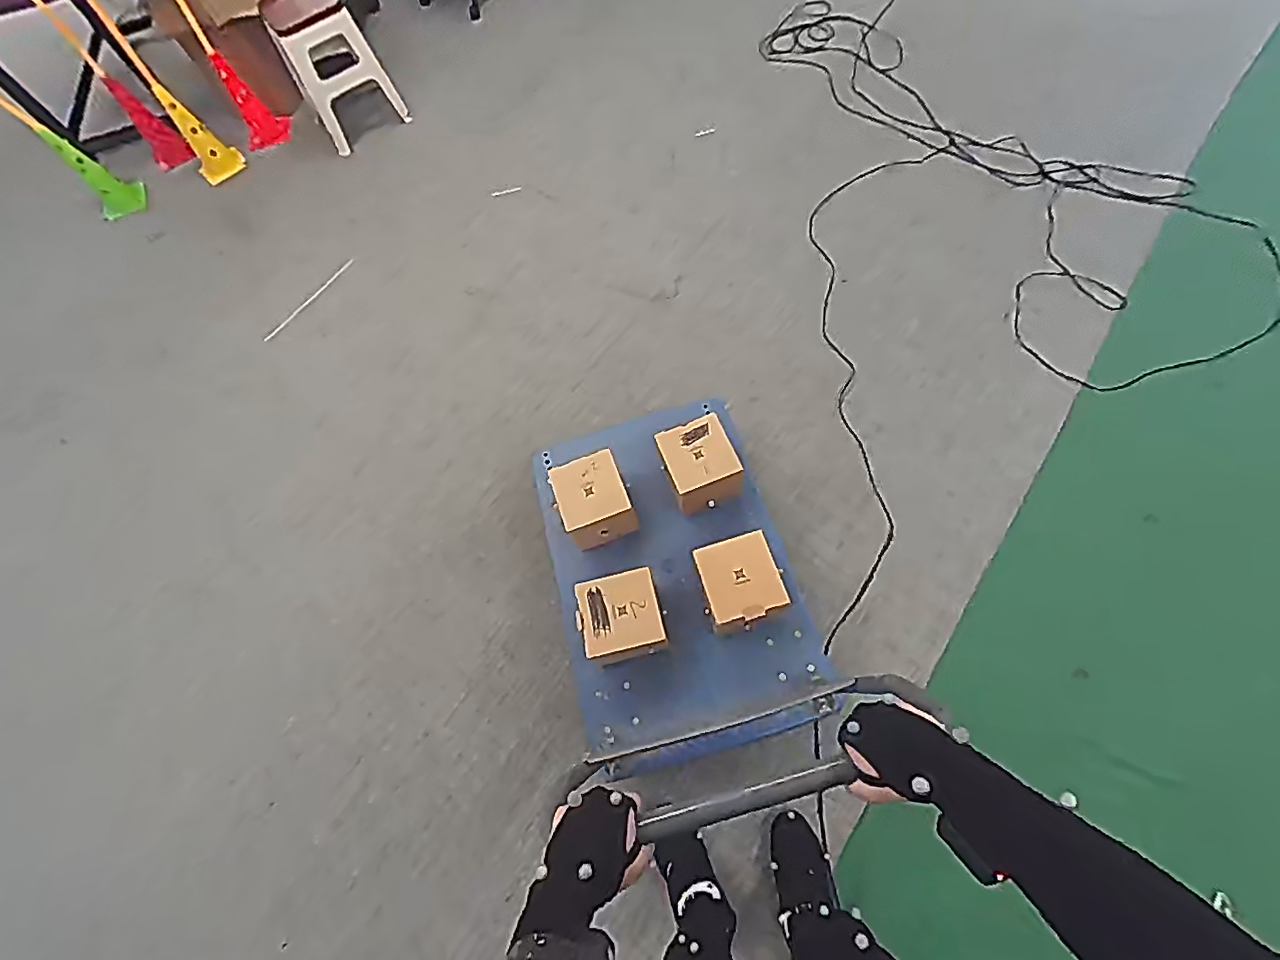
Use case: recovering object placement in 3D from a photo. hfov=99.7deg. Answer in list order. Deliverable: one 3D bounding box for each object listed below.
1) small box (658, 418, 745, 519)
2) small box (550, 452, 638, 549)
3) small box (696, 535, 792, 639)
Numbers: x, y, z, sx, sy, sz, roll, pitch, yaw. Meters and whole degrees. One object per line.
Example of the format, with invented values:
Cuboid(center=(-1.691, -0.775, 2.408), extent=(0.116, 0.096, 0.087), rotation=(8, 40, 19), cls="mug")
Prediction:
Cuboid(center=(0.154, -0.025, 1.382), extent=(0.168, 0.176, 0.179), rotation=(-21, 66, -2), cls="small box")
Cuboid(center=(-0.111, 0.062, 1.372), extent=(0.168, 0.176, 0.179), rotation=(-19, 65, -3), cls="small box")
Cuboid(center=(0.230, 0.252, 1.251), extent=(0.168, 0.176, 0.179), rotation=(-17, 66, -1), cls="small box")
